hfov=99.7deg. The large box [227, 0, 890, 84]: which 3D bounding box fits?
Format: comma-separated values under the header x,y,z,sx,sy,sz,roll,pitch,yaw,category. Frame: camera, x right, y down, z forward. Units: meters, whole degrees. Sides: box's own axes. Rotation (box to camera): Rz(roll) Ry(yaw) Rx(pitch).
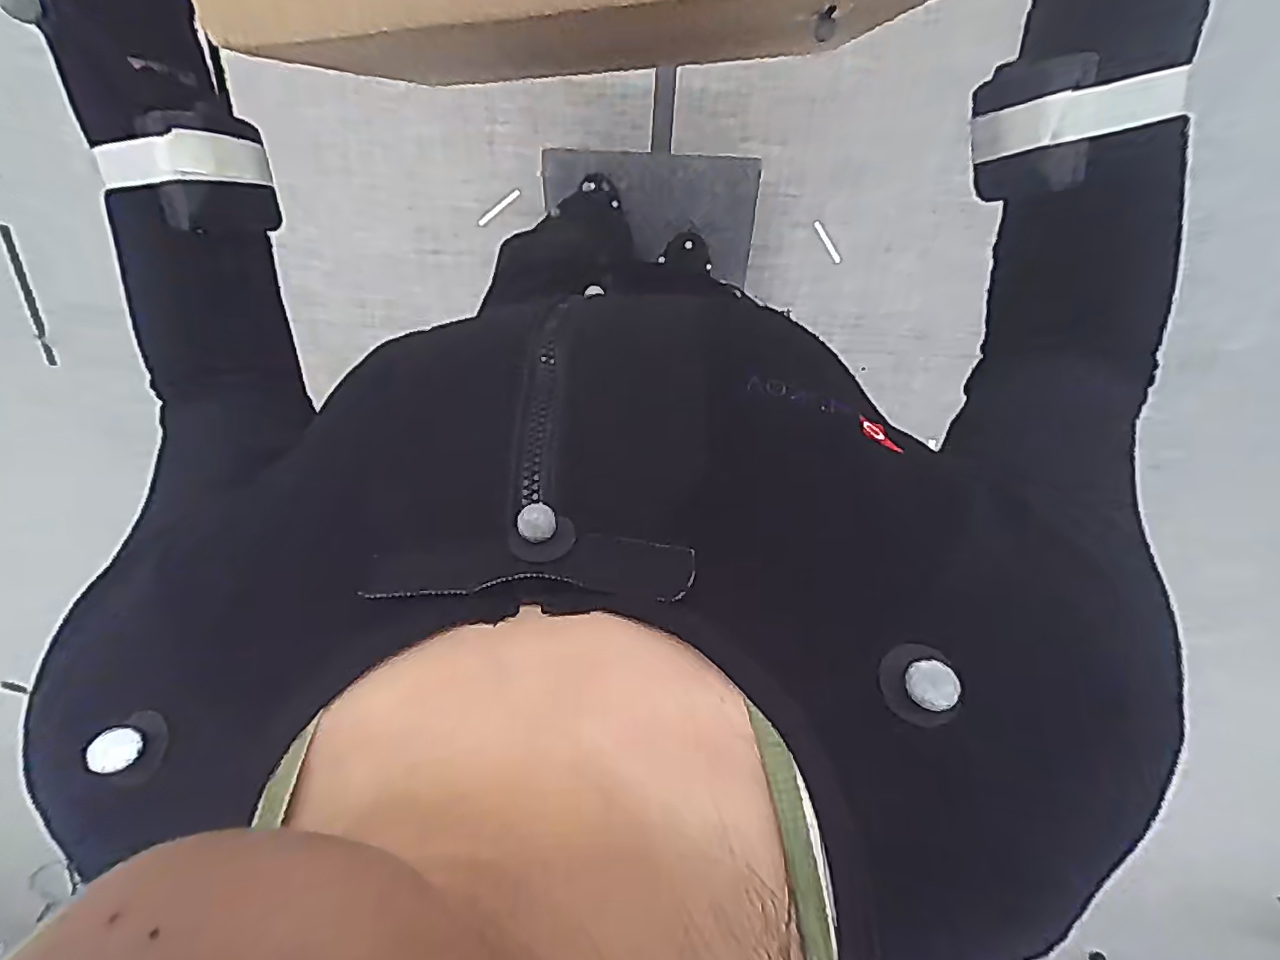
x,y,z,sx,sy,sz,roll,pitch,yaw,category
-0.029,-0.456,0.327,0.408,0.320,0.320,-2,122,5,large box
